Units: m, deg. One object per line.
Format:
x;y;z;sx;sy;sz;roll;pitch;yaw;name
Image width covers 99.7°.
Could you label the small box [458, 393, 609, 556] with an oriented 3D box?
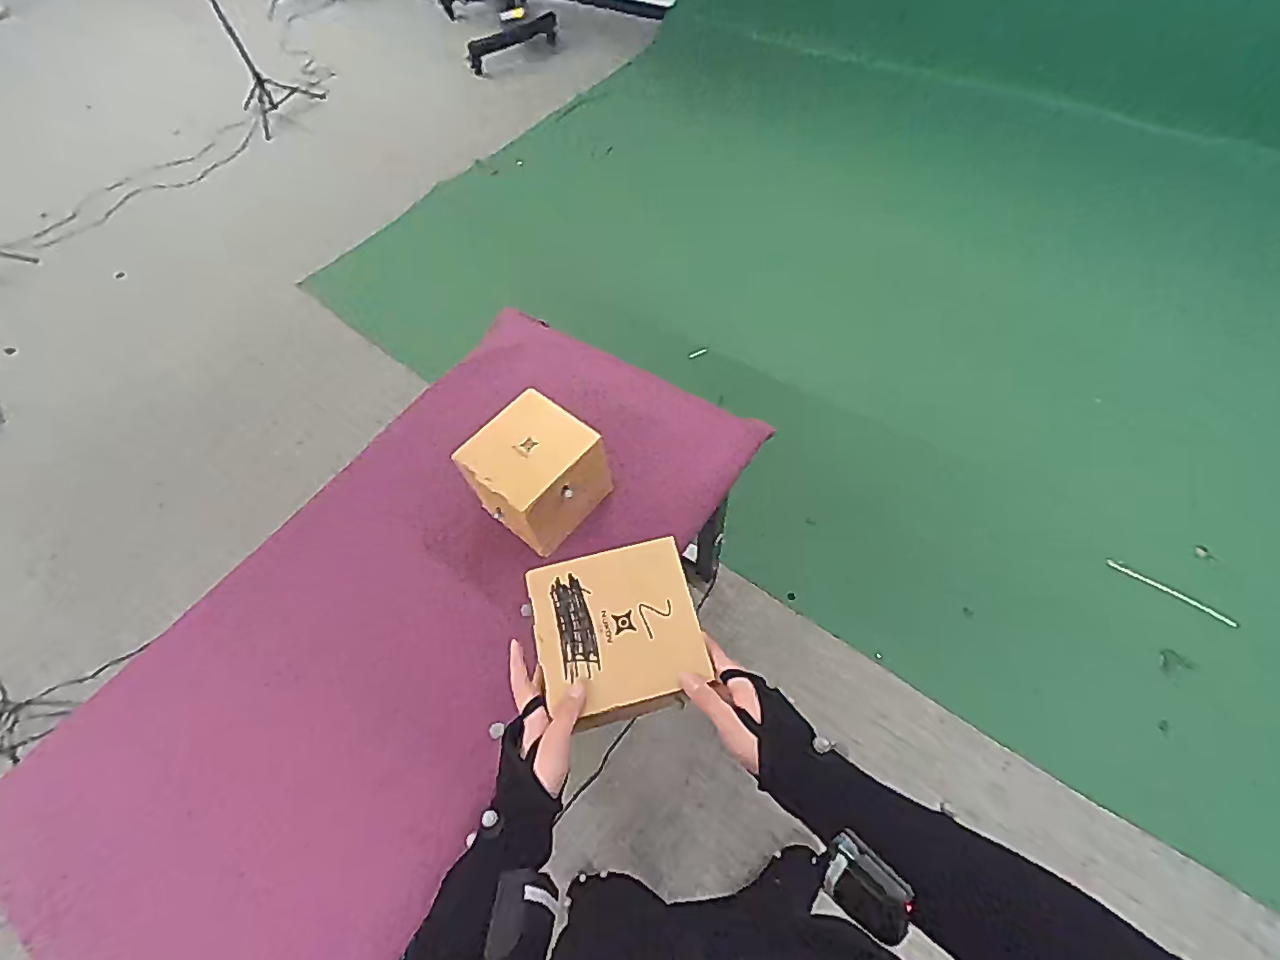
-0.167;-0.006;0.910;0.168;0.176;0.179;35;68;21;small box
